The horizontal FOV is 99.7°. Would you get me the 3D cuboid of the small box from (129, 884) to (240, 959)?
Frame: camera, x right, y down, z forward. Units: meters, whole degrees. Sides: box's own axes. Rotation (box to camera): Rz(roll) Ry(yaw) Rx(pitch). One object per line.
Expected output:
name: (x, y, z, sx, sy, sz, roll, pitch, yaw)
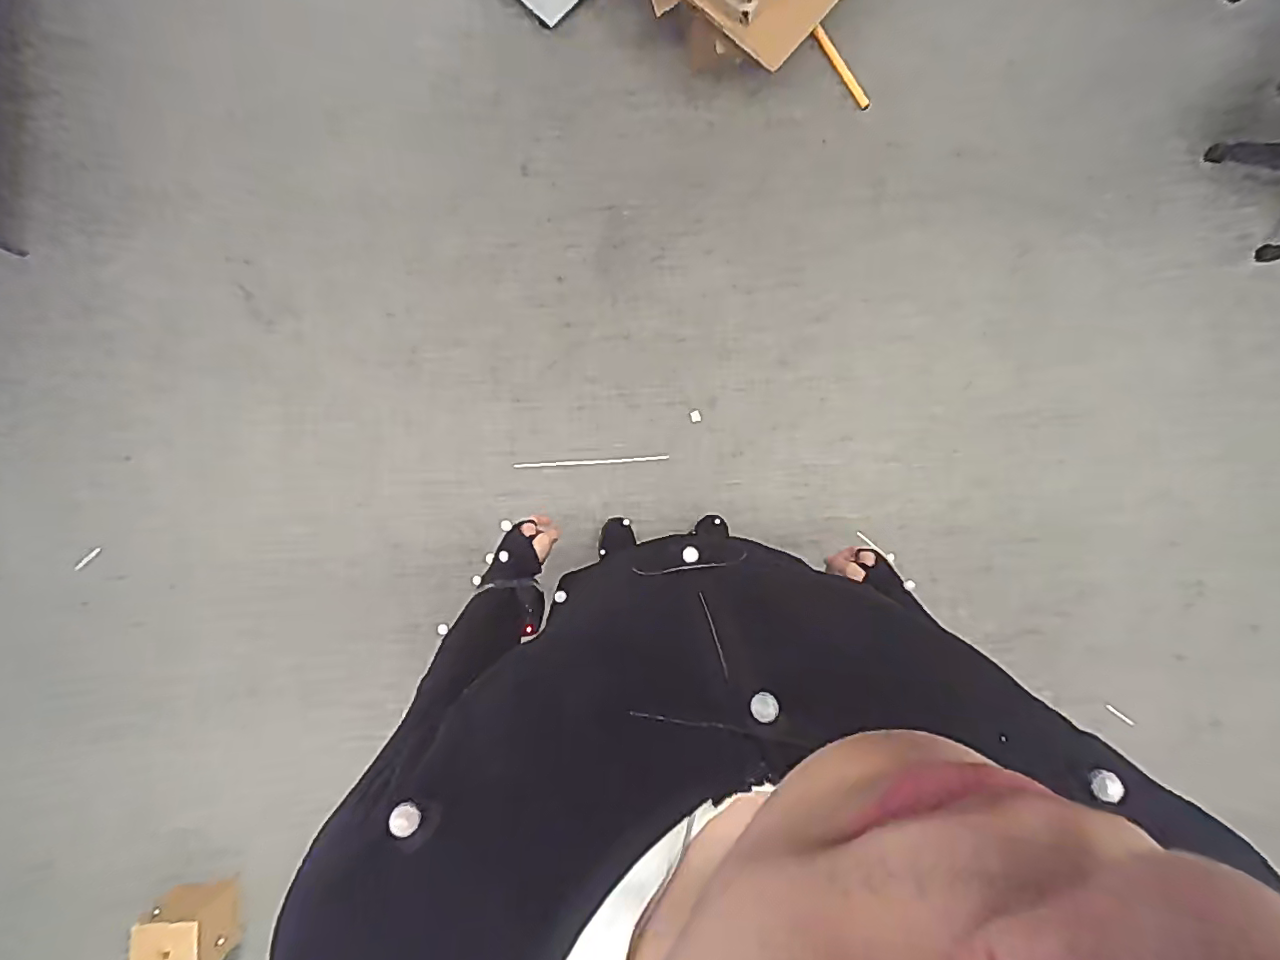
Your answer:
small box: (-1.232, 1.242, 1.476, 0.179, 0.176, 0.168, -3, 86, 0)
